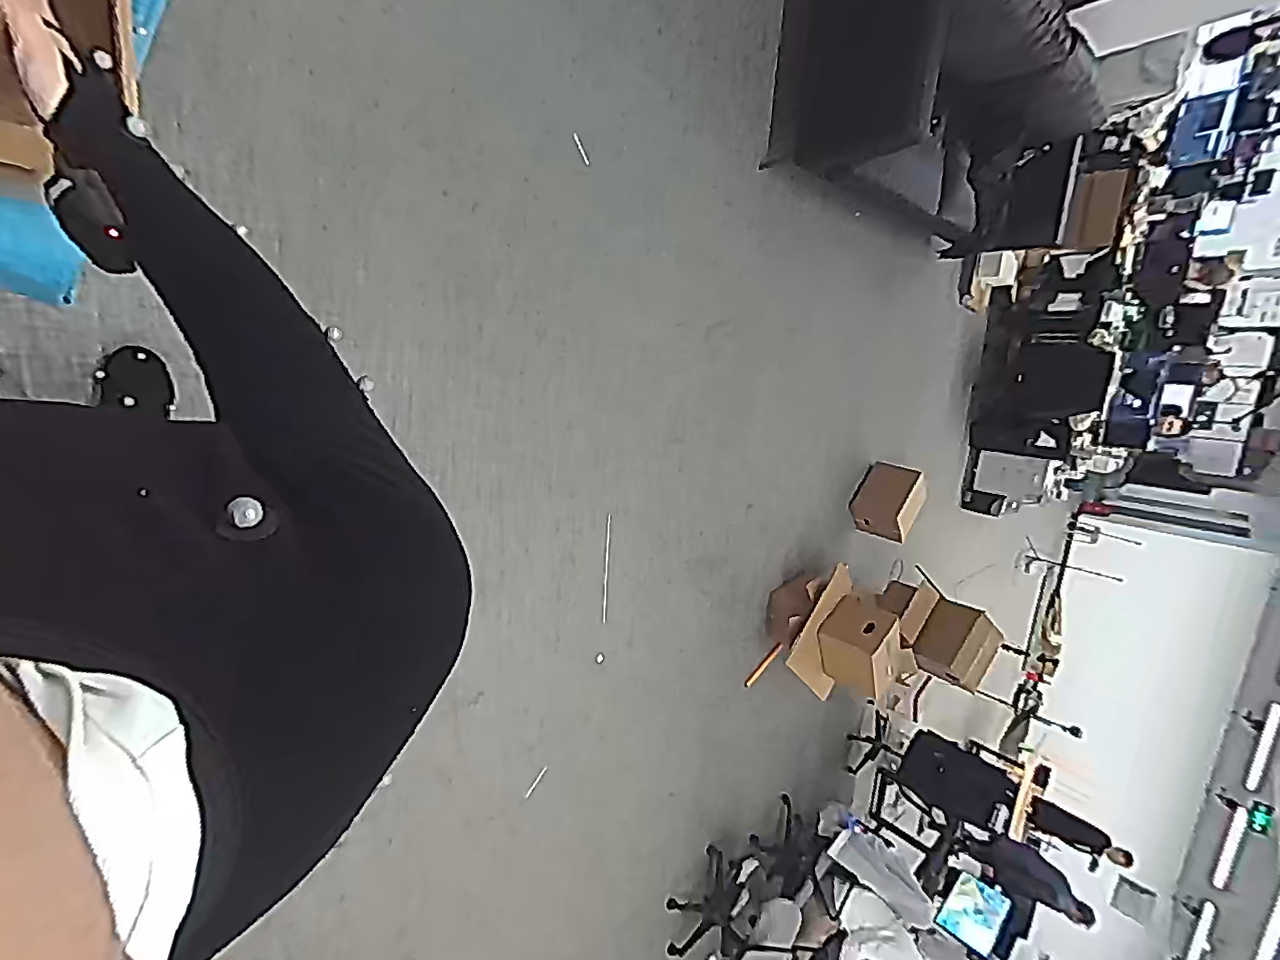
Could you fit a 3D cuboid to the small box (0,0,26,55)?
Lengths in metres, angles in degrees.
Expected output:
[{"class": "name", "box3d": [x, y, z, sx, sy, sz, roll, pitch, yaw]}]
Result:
[{"class": "small box", "box3d": [-0.593, -0.451, 0.384, 0.179, 0.176, 0.168, -5, 104, -40]}]
